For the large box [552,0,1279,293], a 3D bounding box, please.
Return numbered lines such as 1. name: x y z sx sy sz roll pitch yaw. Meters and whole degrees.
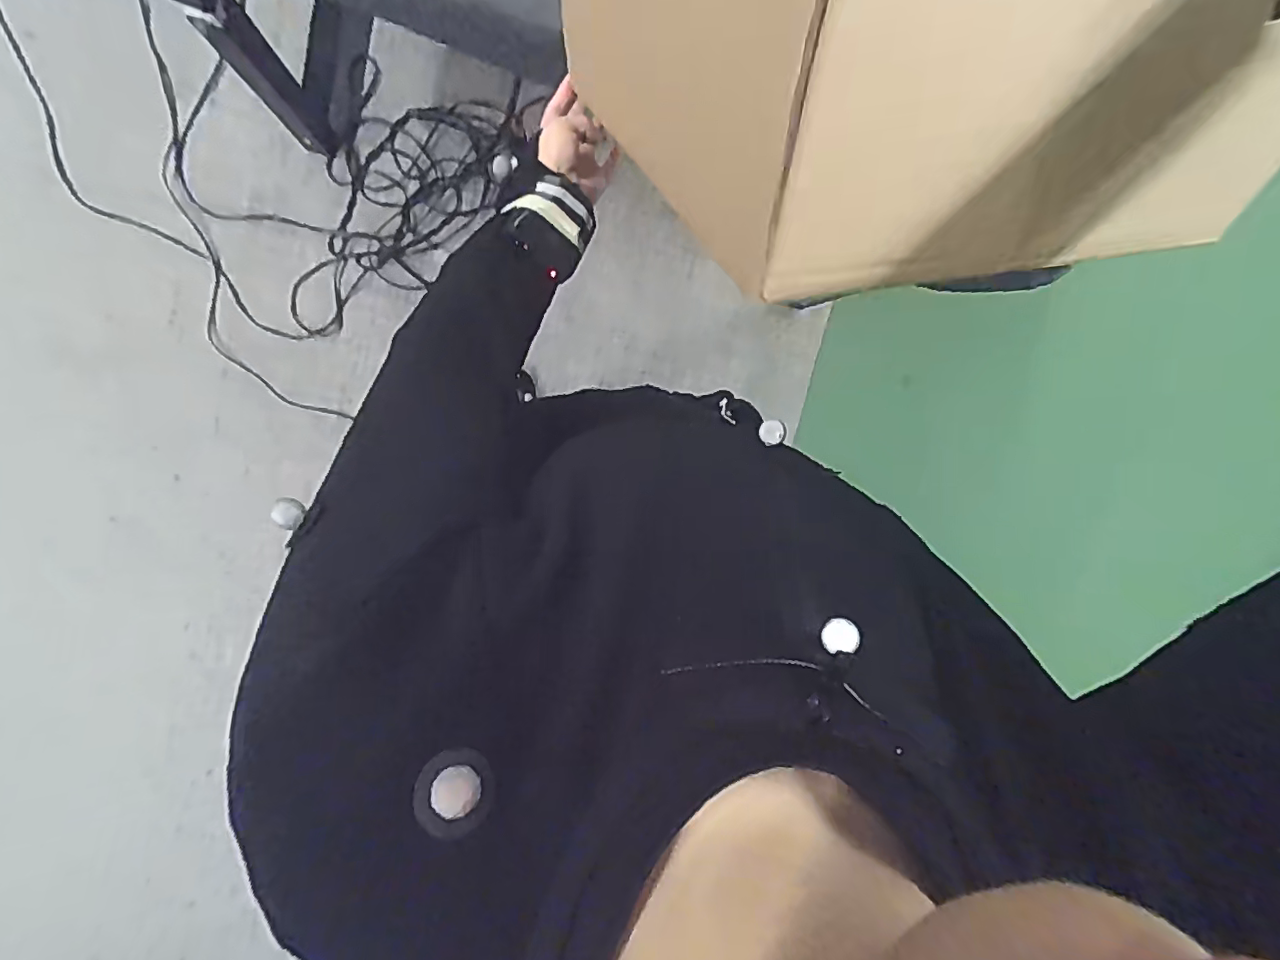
1. large box: 0.142 -0.364 0.300 0.320 0.408 0.320 -14 142 -15
